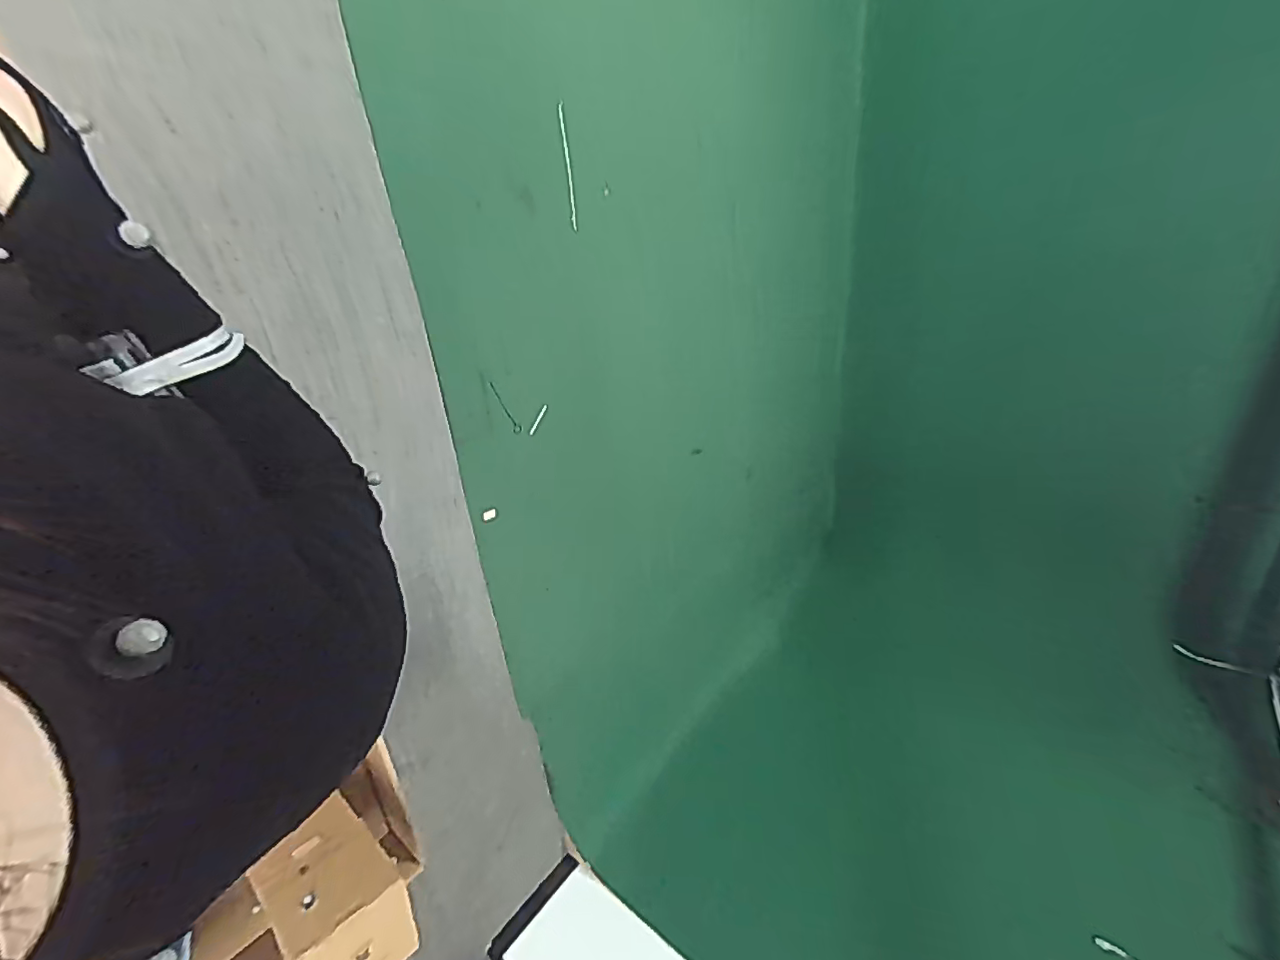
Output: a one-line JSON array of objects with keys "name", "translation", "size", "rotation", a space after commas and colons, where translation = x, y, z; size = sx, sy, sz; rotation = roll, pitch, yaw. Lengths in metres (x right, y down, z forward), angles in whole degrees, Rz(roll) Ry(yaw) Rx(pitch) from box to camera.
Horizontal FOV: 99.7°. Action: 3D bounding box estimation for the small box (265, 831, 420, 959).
[{"name": "small box", "translation": [-0.496, 0.734, 0.904], "size": [0.168, 0.176, 0.179], "rotation": [-20, 117, -44]}]
